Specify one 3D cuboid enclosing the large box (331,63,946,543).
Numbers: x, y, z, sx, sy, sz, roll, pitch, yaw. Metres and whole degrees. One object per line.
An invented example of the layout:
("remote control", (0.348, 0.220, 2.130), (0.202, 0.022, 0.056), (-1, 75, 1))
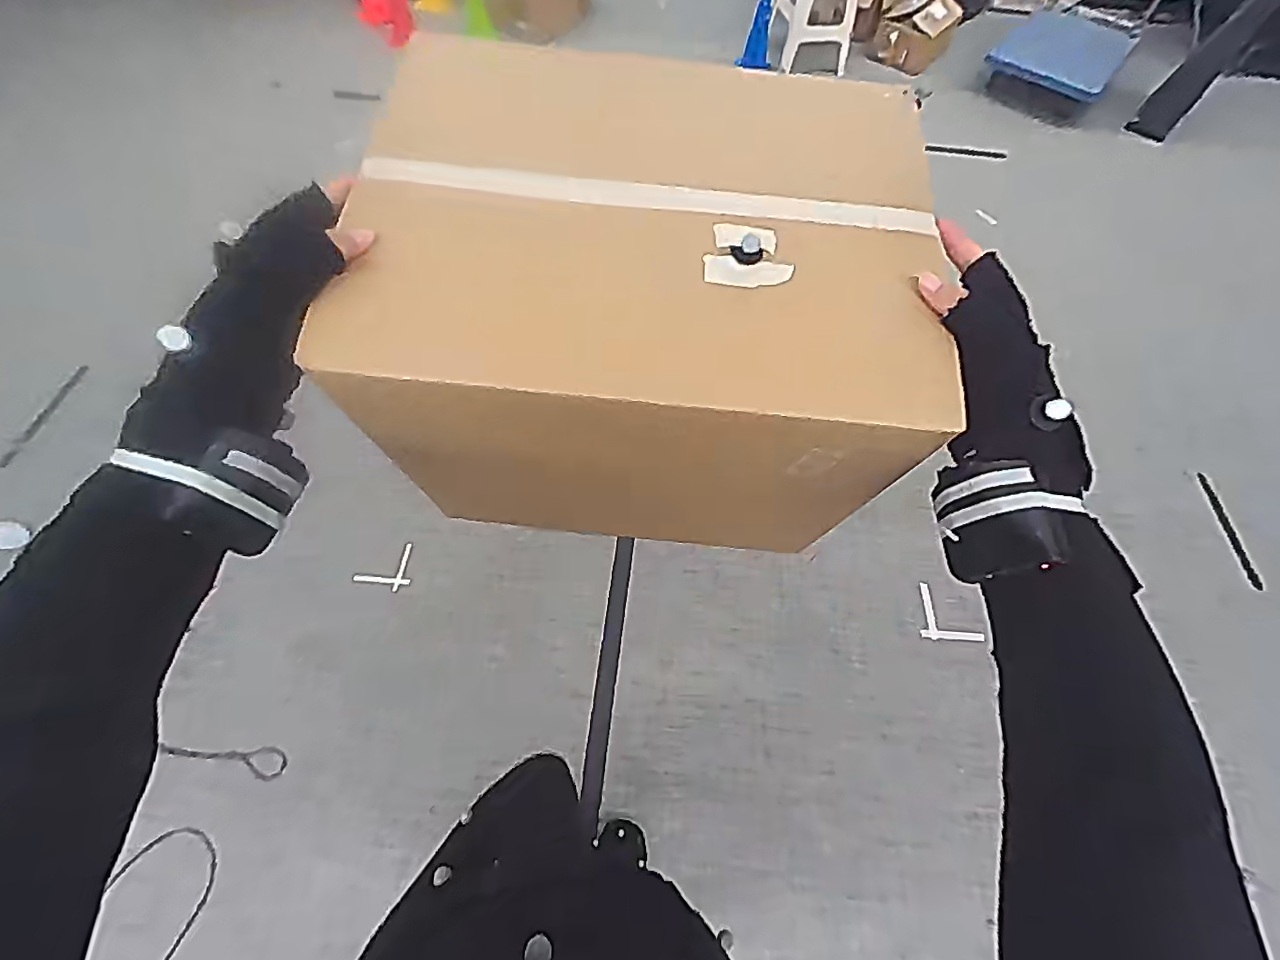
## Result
("large box", (0.002, -0.135, 0.535), (0.408, 0.320, 0.320), (5, 70, -1))
